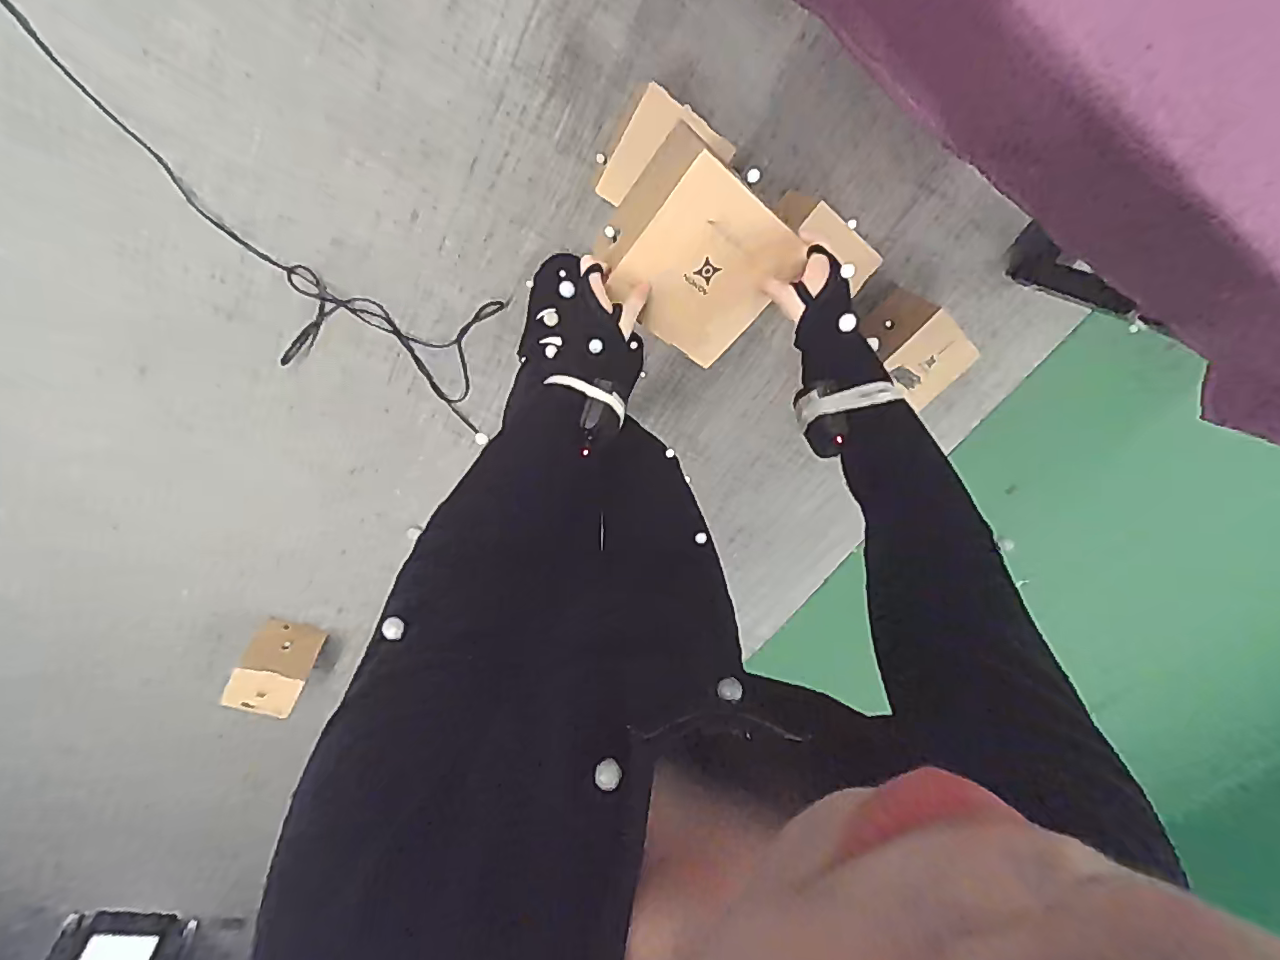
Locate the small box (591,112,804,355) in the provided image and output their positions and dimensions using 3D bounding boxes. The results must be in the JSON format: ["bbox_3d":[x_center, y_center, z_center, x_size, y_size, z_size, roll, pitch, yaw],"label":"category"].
[{"bbox_3d":[0.057,-0.291,0.644,0.168,0.176,0.179,28,124,-28],"label":"small box"}]

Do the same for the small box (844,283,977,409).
[{"bbox_3d":[0.573,-0.295,1.178,0.168,0.176,0.179,32,113,-26],"label":"small box"}]

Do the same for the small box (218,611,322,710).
[{"bbox_3d":[-0.998,0.489,1.474,0.168,0.176,0.179,27,116,-23],"label":"small box"}]
